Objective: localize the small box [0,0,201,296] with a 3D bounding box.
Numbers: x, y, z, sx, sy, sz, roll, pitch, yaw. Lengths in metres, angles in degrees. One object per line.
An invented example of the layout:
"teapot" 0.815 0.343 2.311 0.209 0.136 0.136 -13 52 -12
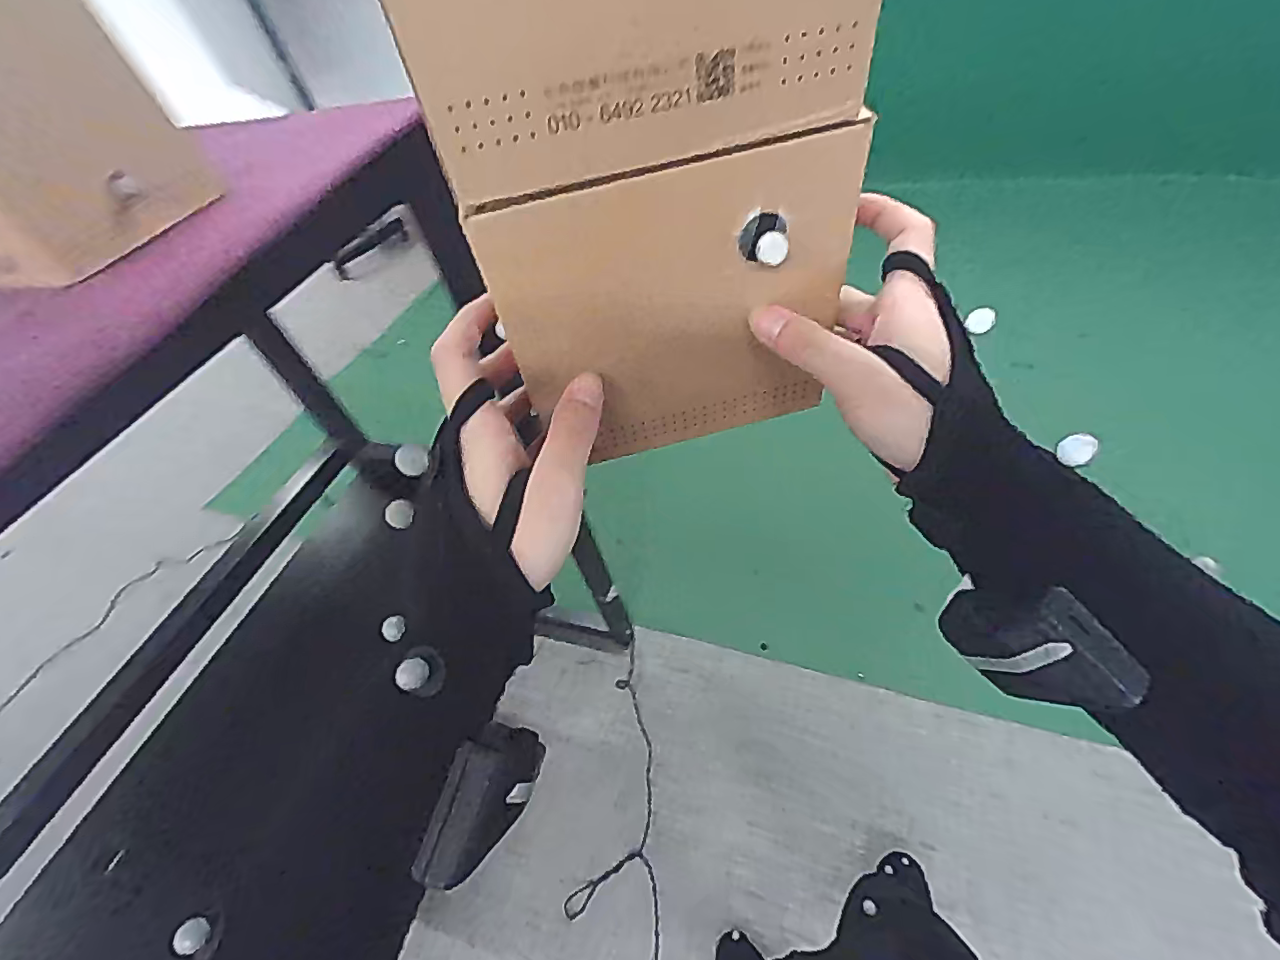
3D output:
"small box" -0.529 -0.276 0.455 0.168 0.176 0.179 6 52 20

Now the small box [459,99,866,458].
"small box" 0.006 -0.139 0.332 0.179 0.176 0.168 -14 52 -1
